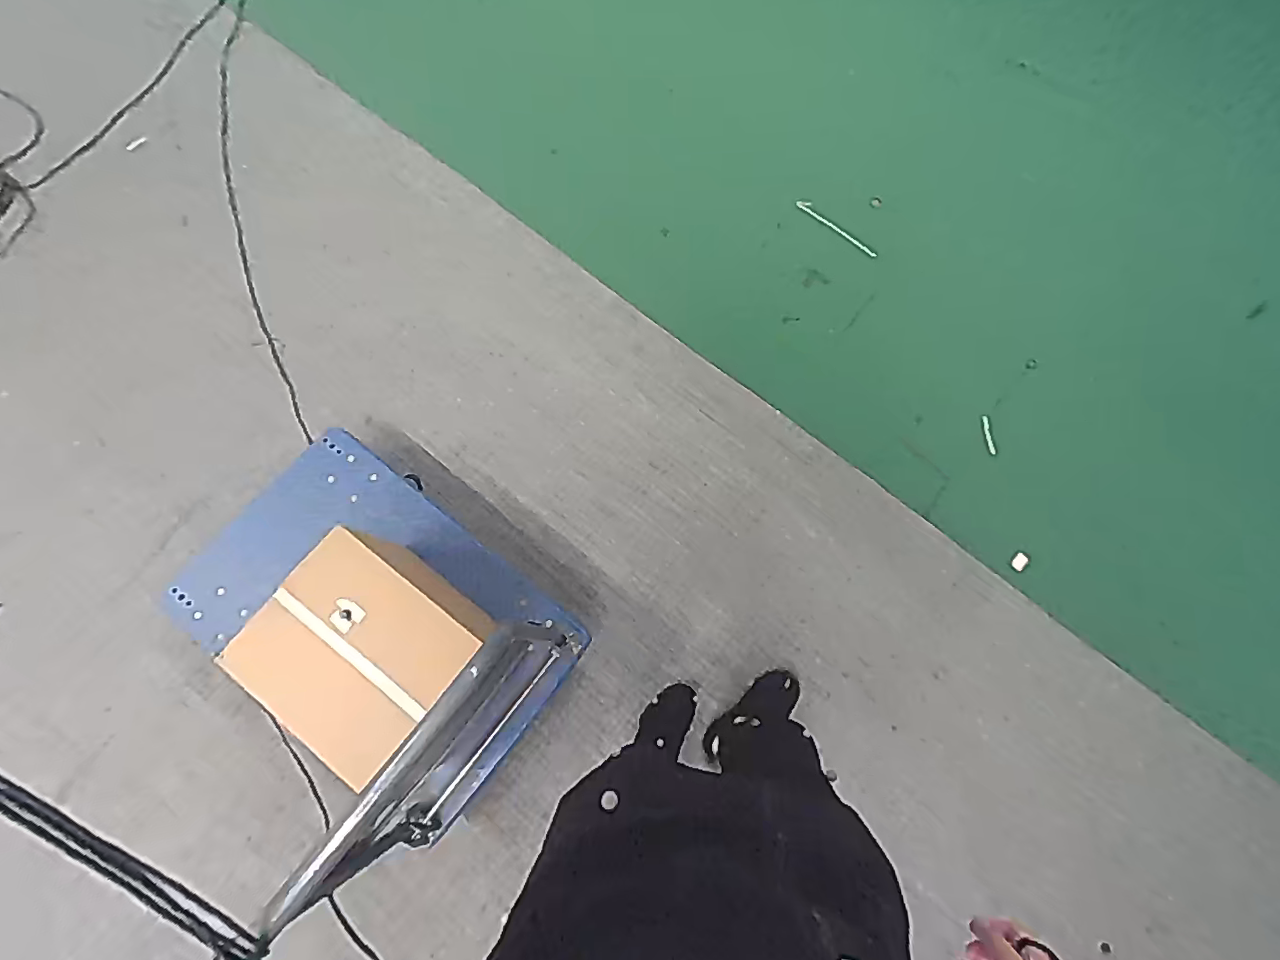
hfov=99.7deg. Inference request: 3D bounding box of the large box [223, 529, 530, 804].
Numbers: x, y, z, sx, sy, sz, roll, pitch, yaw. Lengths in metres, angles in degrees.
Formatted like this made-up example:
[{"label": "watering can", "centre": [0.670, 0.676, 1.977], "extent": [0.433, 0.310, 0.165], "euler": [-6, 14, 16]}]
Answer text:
[{"label": "large box", "centre": [-0.498, 0.358, 1.111], "extent": [0.408, 0.320, 0.320], "euler": [36, 77, 9]}]
